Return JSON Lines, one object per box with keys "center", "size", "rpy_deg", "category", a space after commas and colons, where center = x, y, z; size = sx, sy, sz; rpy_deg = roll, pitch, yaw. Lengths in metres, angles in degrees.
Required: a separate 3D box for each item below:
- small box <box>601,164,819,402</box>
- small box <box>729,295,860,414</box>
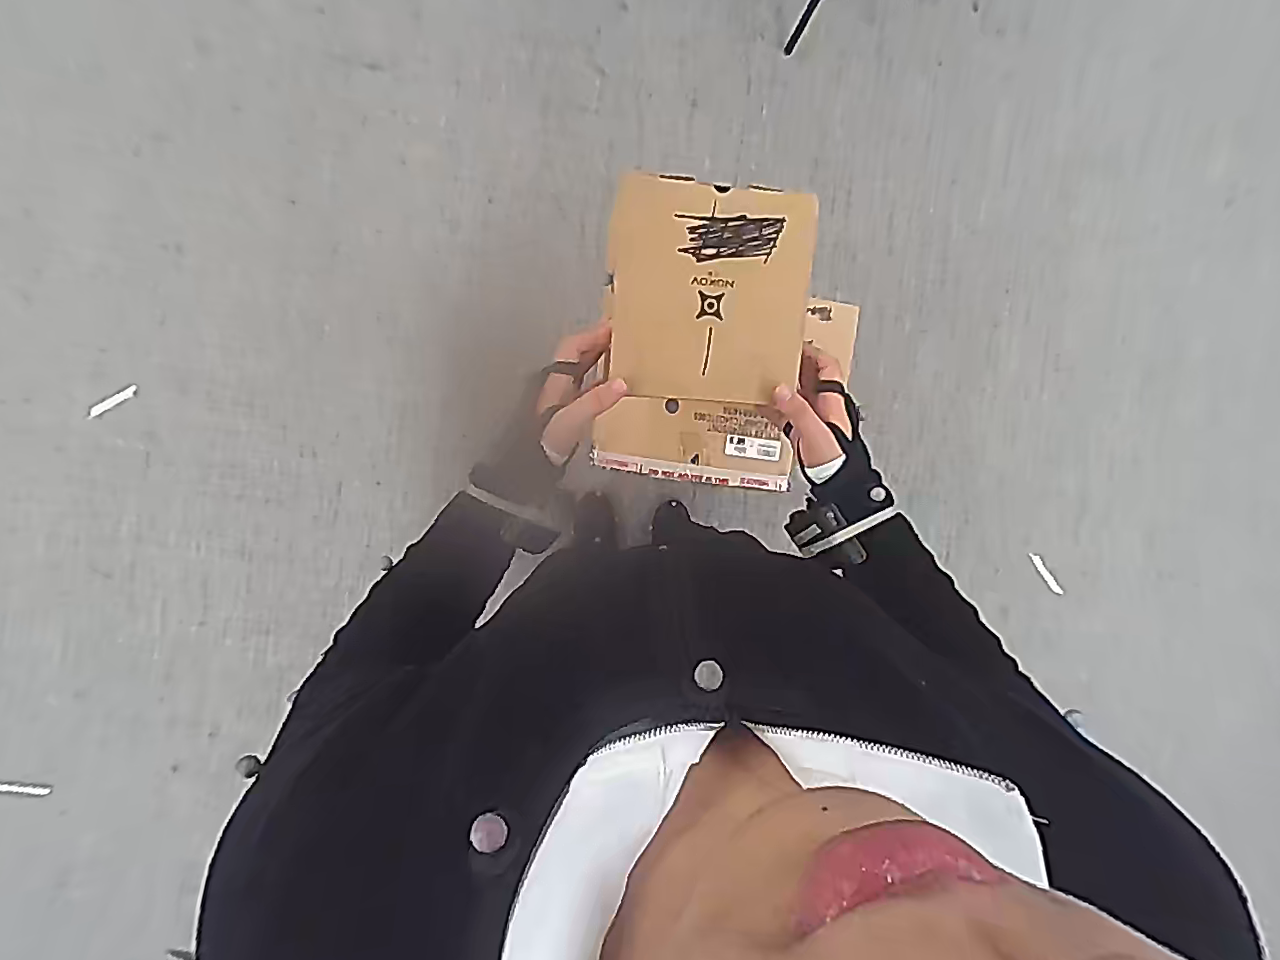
{"center": [0.050, -0.170, 0.518], "size": [0.168, 0.176, 0.179], "rpy_deg": [2, 100, -7], "category": "small box"}
{"center": [0.250, -0.212, 0.937], "size": [0.168, 0.176, 0.179], "rpy_deg": [8, 93, -7], "category": "small box"}
